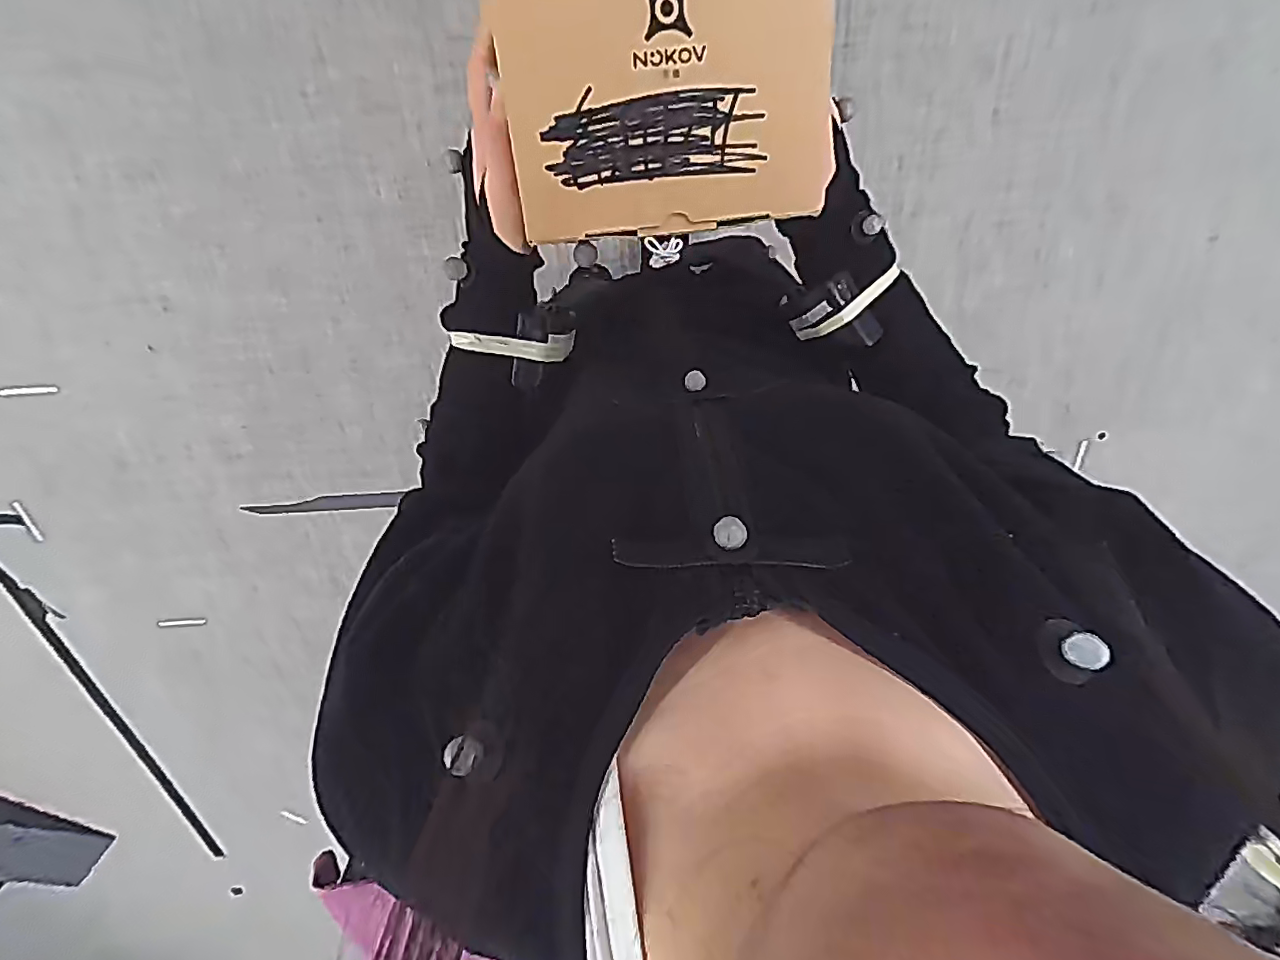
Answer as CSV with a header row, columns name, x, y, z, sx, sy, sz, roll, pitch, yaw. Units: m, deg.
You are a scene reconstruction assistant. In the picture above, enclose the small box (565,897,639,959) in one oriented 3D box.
name,x,y,z,sx,sy,sz,roll,pitch,yaw
small box,-0.085,1.116,1.264,0.168,0.176,0.179,-2,118,-3
